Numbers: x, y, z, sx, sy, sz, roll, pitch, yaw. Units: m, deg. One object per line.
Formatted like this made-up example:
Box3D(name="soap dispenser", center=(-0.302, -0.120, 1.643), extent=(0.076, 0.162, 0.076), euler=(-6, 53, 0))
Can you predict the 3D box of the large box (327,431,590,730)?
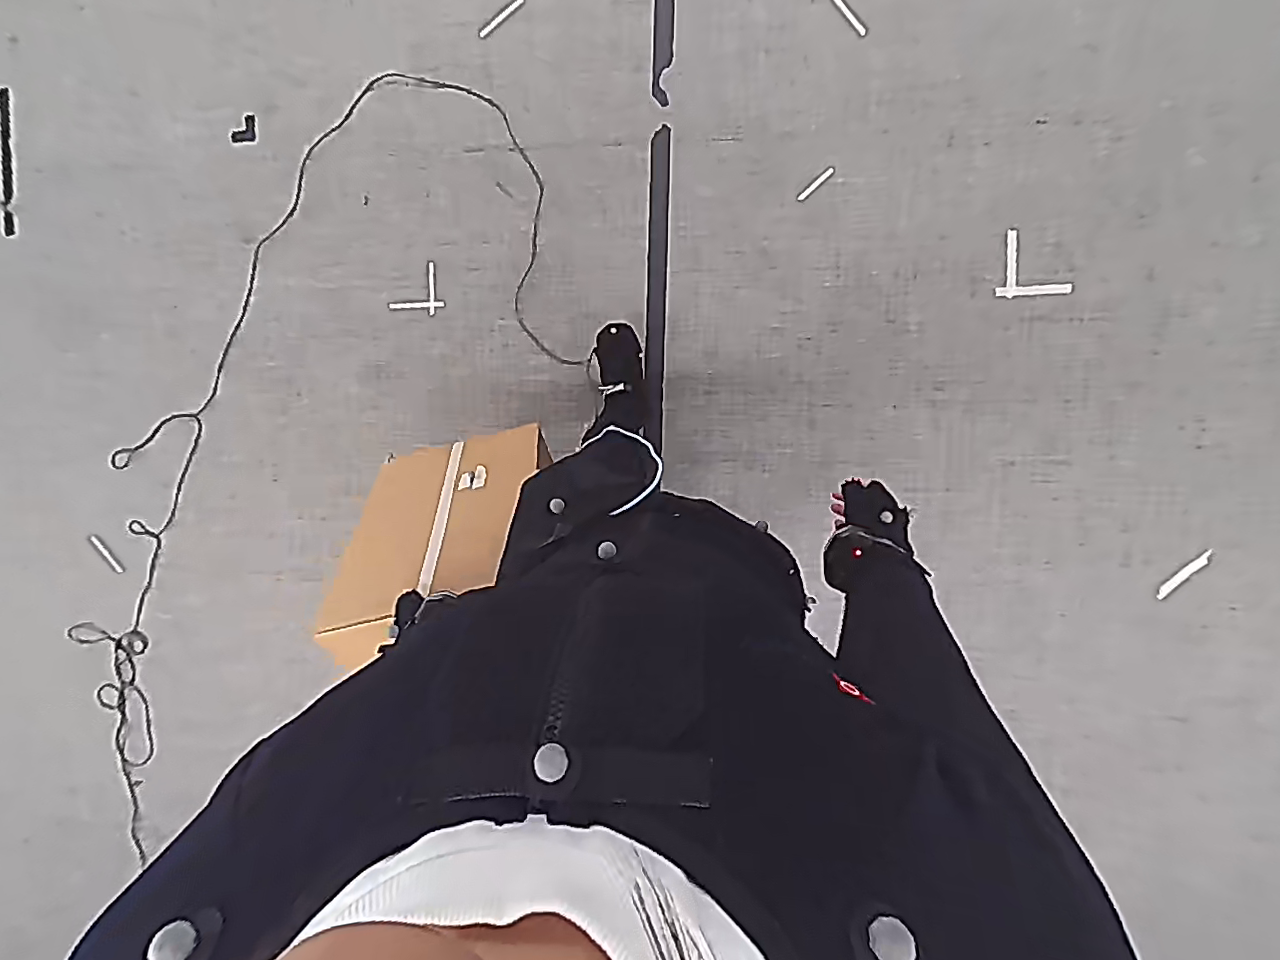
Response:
Box3D(name="large box", center=(-0.286, 0.173, 0.999), extent=(0.320, 0.408, 0.320), euler=(-13, 128, 3))
